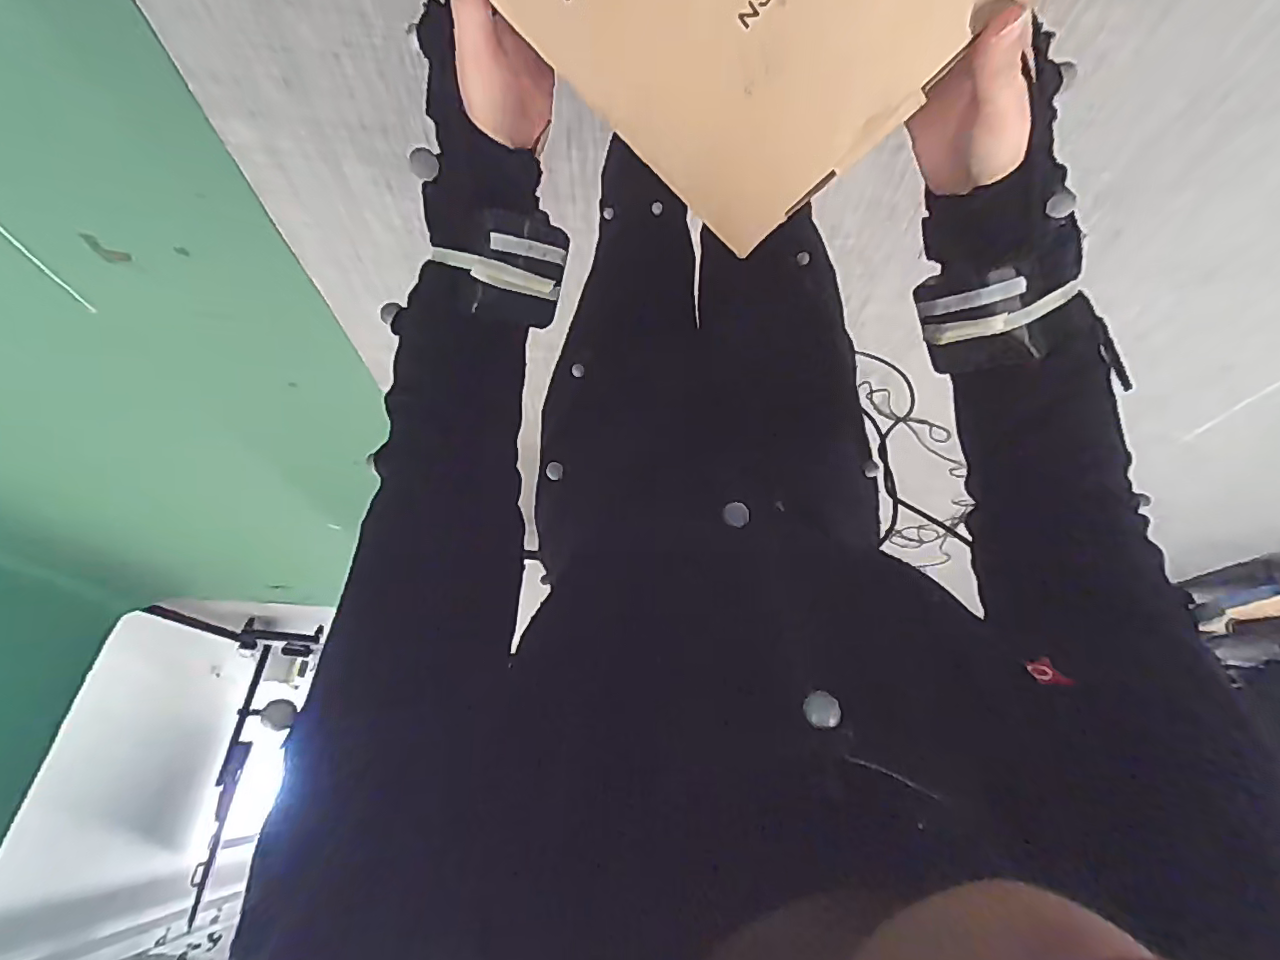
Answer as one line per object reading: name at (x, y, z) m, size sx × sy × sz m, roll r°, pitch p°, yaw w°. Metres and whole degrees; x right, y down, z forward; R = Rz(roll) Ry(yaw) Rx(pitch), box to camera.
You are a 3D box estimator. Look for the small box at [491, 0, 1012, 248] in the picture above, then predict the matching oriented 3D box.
small box at (0.048, -0.265, 0.268) m, size 0.179 × 0.176 × 0.168 m, roll 31°, pitch 129°, yaw -28°
